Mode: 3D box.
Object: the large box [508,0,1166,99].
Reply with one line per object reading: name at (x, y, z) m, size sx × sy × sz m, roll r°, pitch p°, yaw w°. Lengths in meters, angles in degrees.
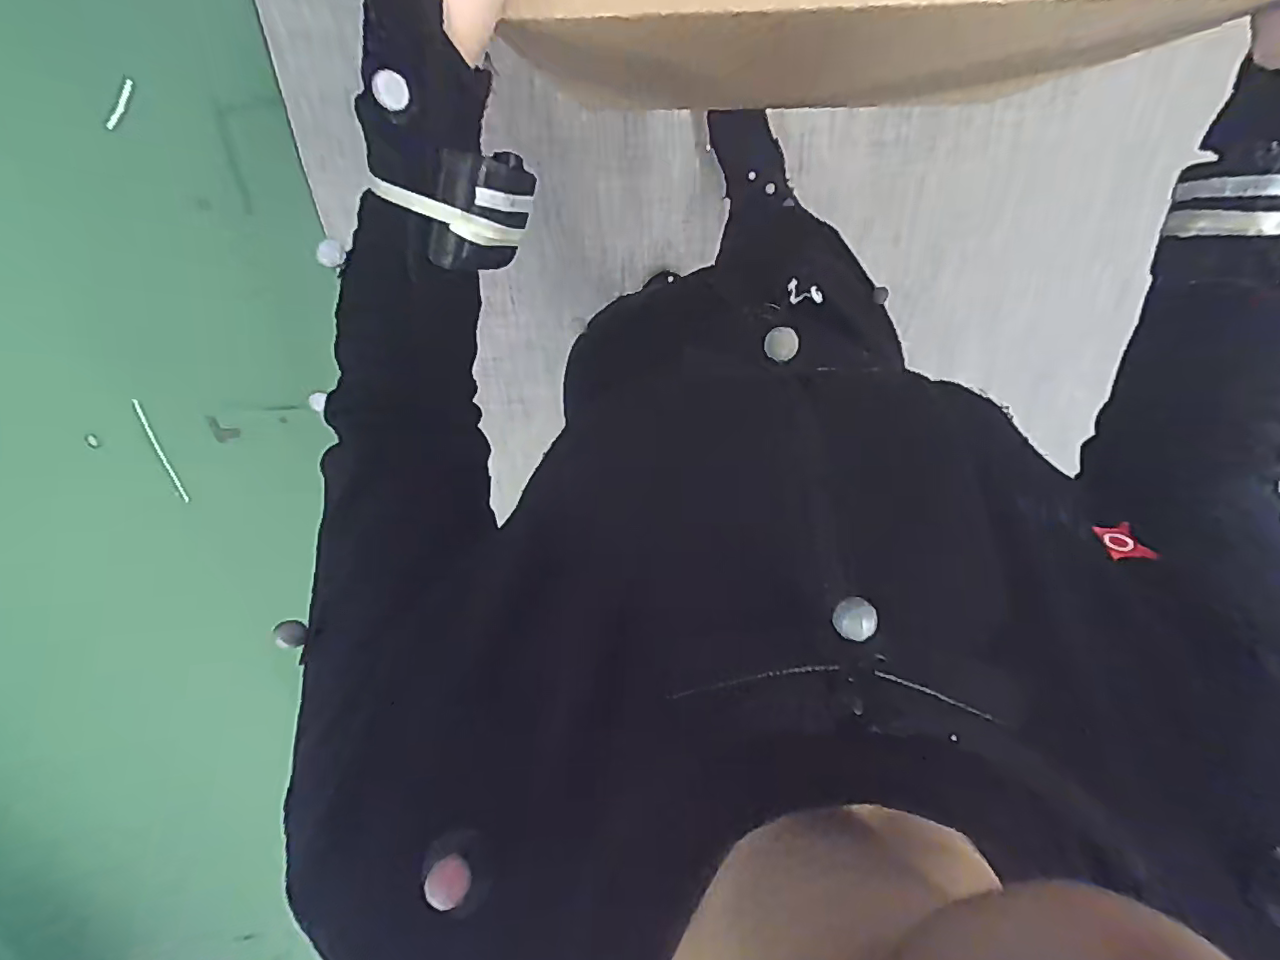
large box at (0.122, -0.450, 0.328) m, size 0.408 × 0.320 × 0.320 m, roll 0°, pitch 118°, yaw 3°
